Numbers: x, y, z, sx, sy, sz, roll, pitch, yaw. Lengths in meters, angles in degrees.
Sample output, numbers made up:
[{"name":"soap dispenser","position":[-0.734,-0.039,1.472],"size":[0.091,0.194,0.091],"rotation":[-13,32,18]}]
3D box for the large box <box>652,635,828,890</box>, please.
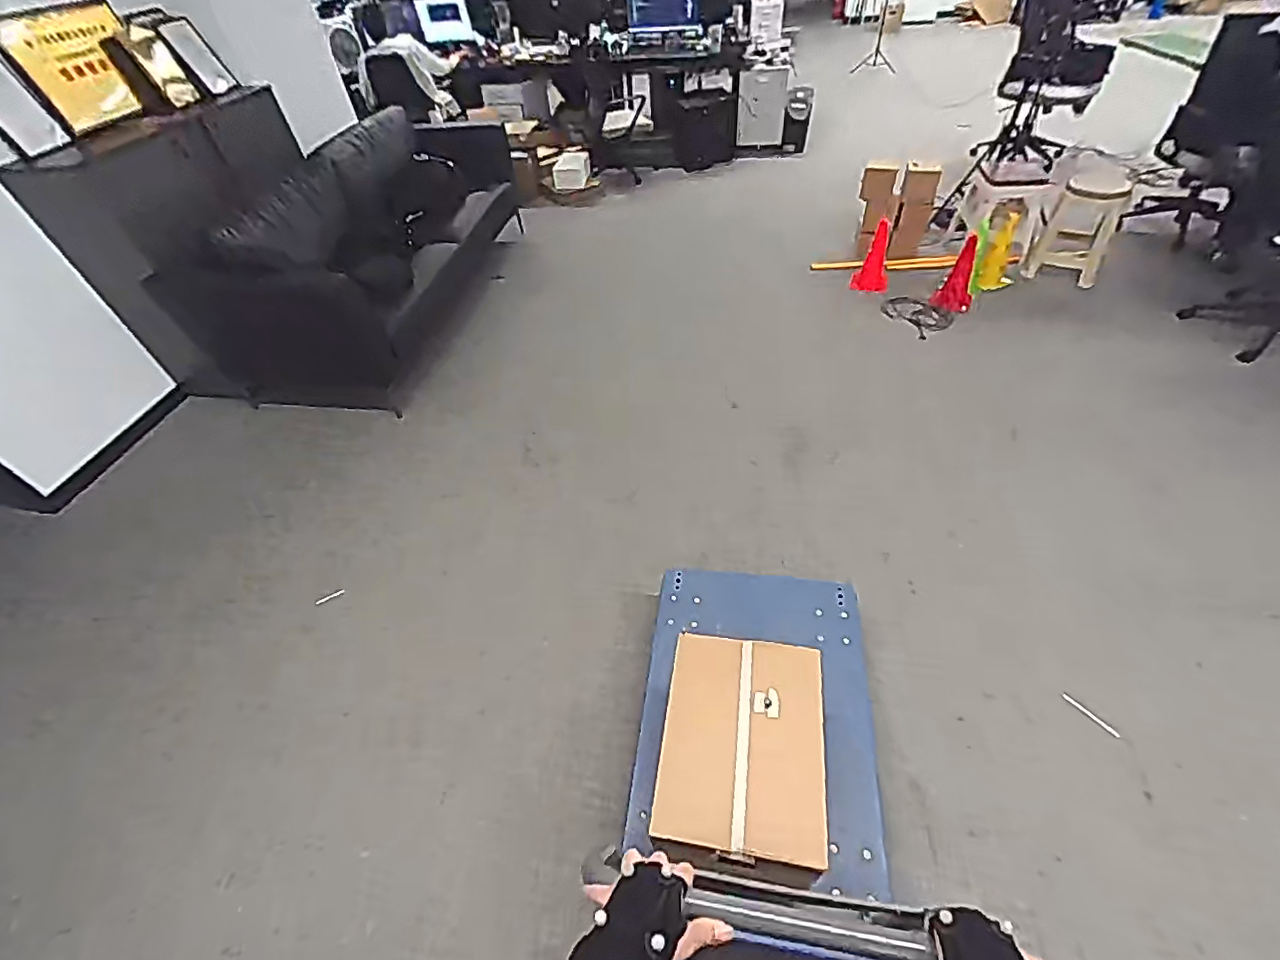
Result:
[{"name":"large box","position":[0.216,0.609,1.186],"size":[0.320,0.320,0.408],"rotation":[4,46,10]}]
